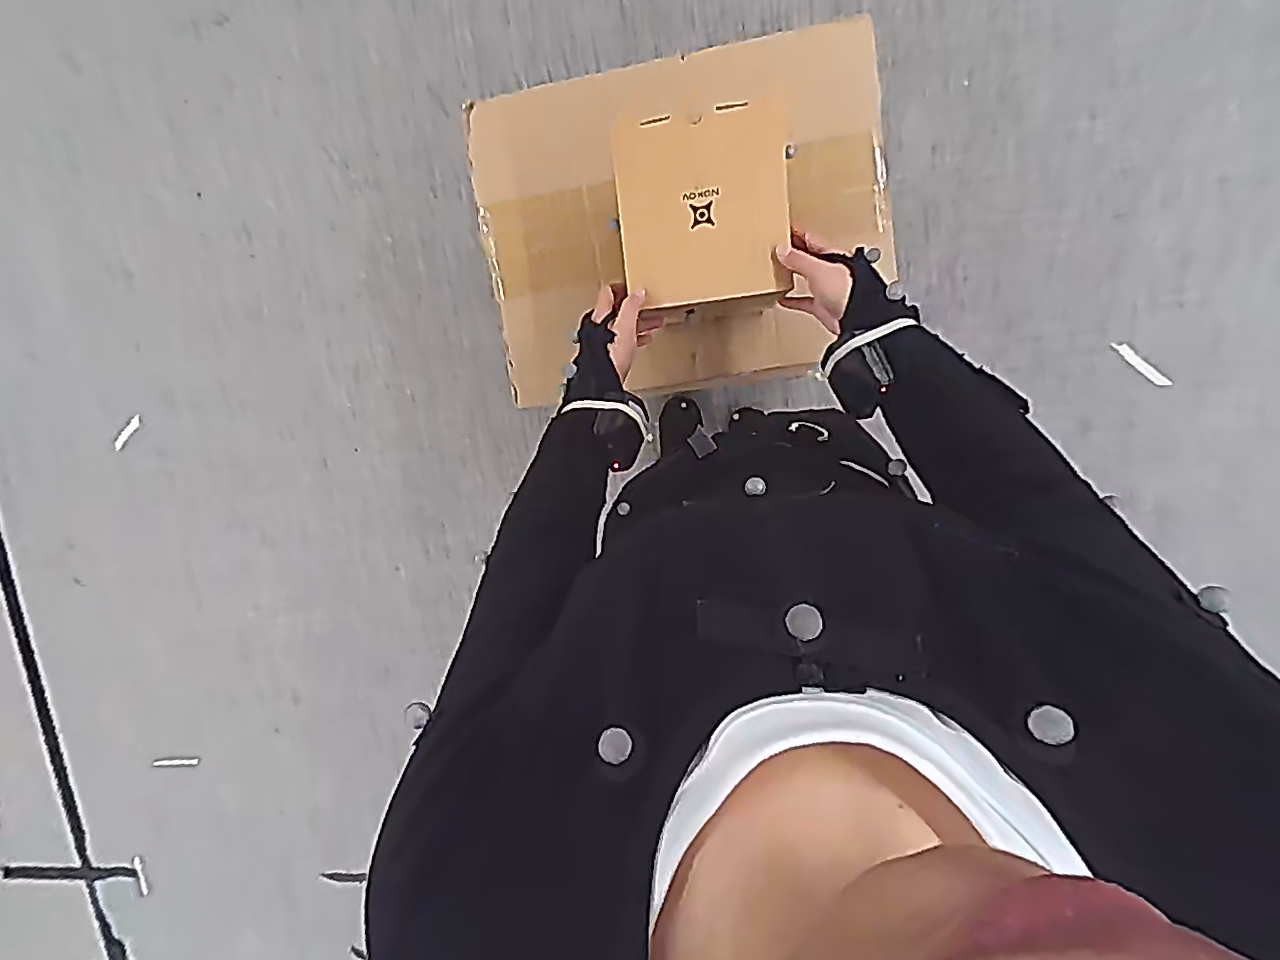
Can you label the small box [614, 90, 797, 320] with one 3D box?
[{"bbox_3d":[0.075,-0.278,0.596,0.168,0.176,0.179,-5,99,9],"label":"small box"}]
